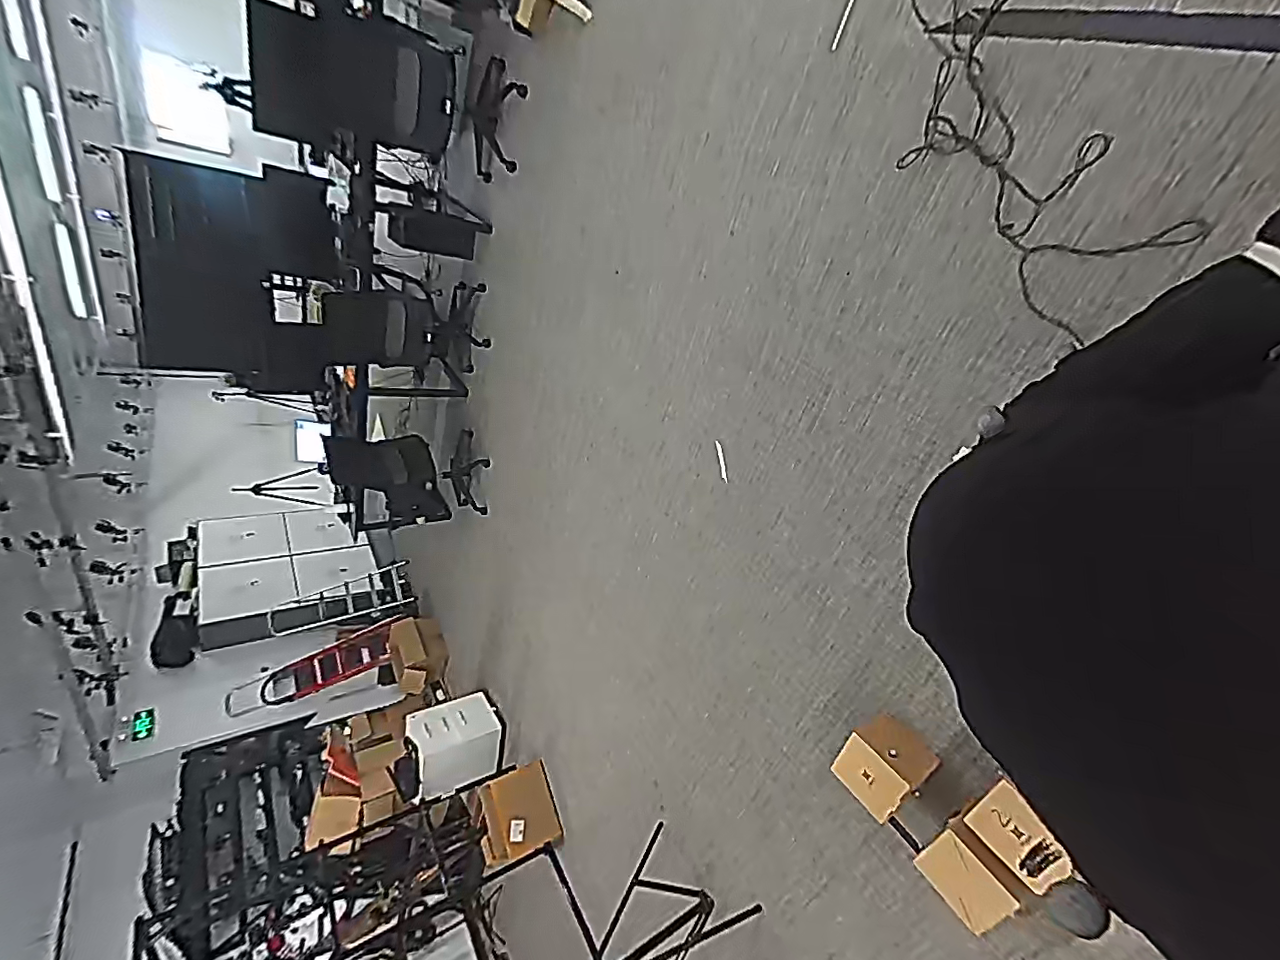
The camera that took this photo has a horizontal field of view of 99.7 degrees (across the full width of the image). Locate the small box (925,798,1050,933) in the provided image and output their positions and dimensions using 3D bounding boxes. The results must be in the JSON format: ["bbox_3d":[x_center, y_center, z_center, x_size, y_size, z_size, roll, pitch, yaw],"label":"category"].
[{"bbox_3d":[0.821,0.918,1.296,0.179,0.176,0.168,47,130,39],"label":"small box"}]
